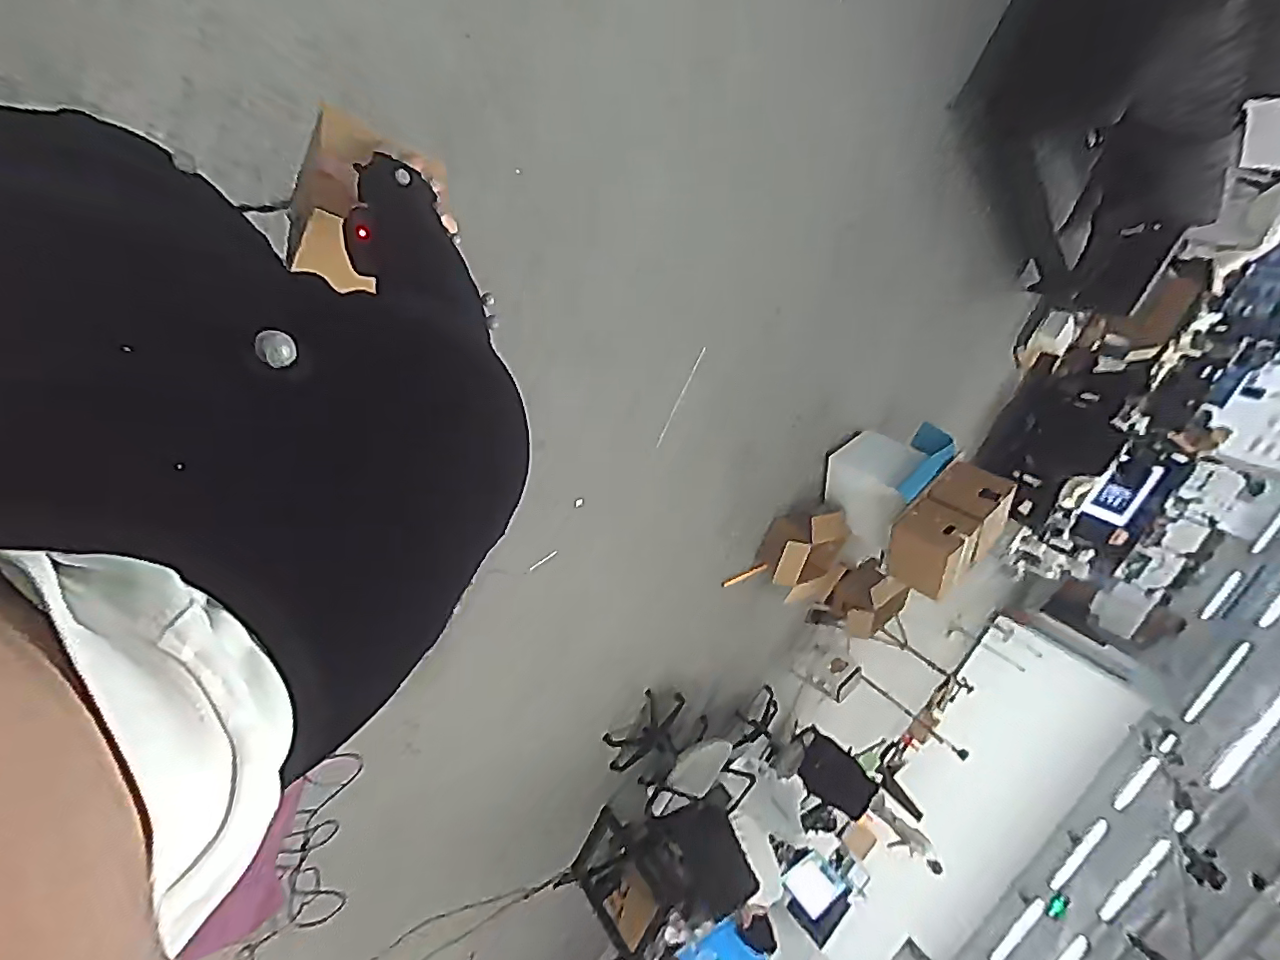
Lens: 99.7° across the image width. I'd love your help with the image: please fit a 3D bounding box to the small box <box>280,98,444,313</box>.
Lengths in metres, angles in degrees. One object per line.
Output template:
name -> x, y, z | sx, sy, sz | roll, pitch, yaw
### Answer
small box -> -0.391, -0.368, 0.763 | 0.168, 0.179, 0.176 | 11, 154, -43
